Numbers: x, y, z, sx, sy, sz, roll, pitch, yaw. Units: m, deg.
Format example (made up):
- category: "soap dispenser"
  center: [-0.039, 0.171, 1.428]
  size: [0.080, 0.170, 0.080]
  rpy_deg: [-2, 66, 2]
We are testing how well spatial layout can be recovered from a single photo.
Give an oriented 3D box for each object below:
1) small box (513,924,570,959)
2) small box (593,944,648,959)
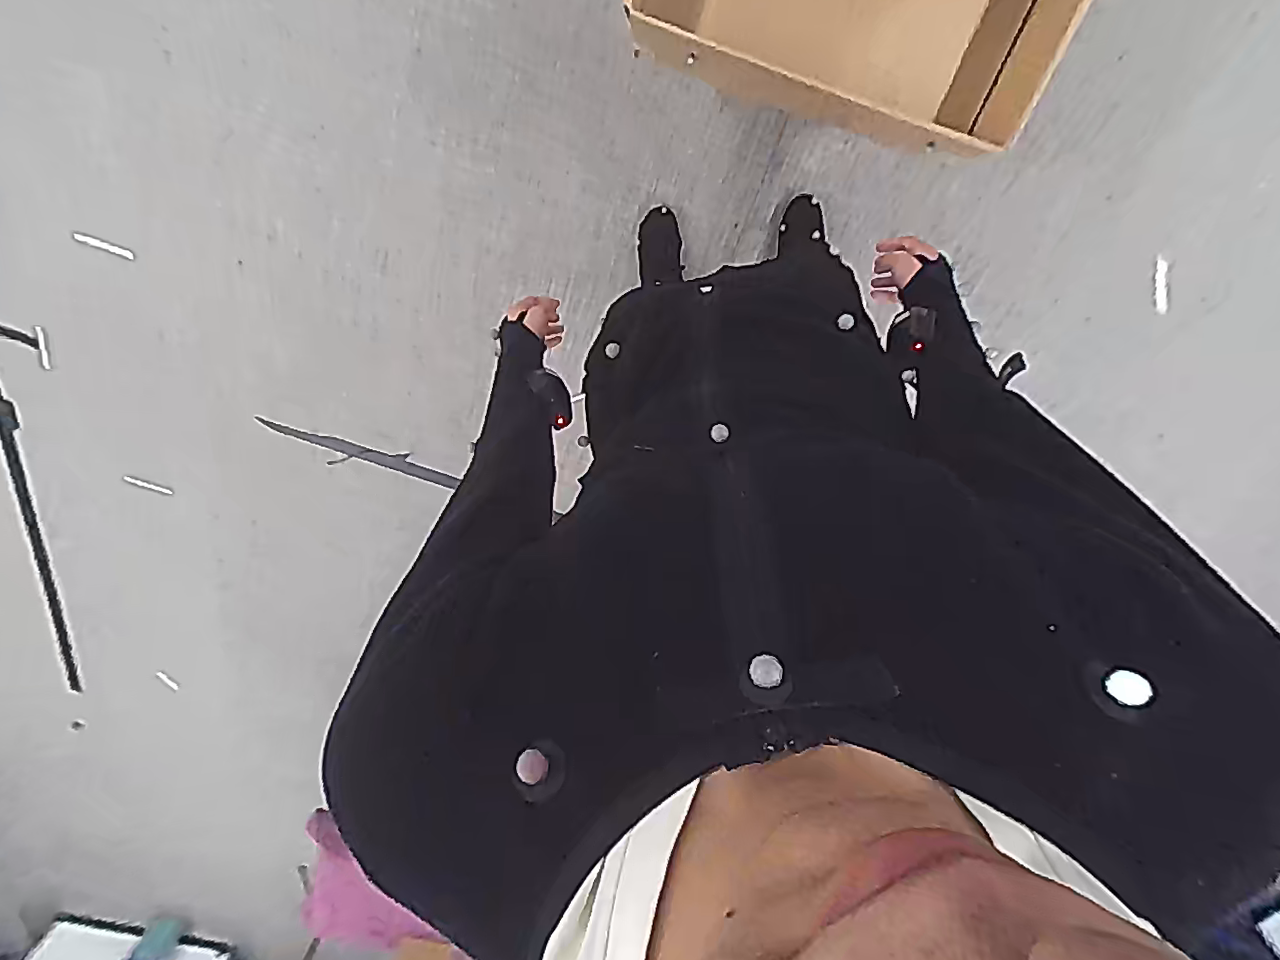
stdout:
- category: "small box"
  center: [-0.329, 1.584, 1.750]
  size: [0.168, 0.176, 0.179]
  rpy_deg: [15, 120, -6]
- category: "small box"
  center: [-0.072, 1.674, 1.783]
  size: [0.168, 0.176, 0.179]
  rpy_deg: [18, 121, -6]
